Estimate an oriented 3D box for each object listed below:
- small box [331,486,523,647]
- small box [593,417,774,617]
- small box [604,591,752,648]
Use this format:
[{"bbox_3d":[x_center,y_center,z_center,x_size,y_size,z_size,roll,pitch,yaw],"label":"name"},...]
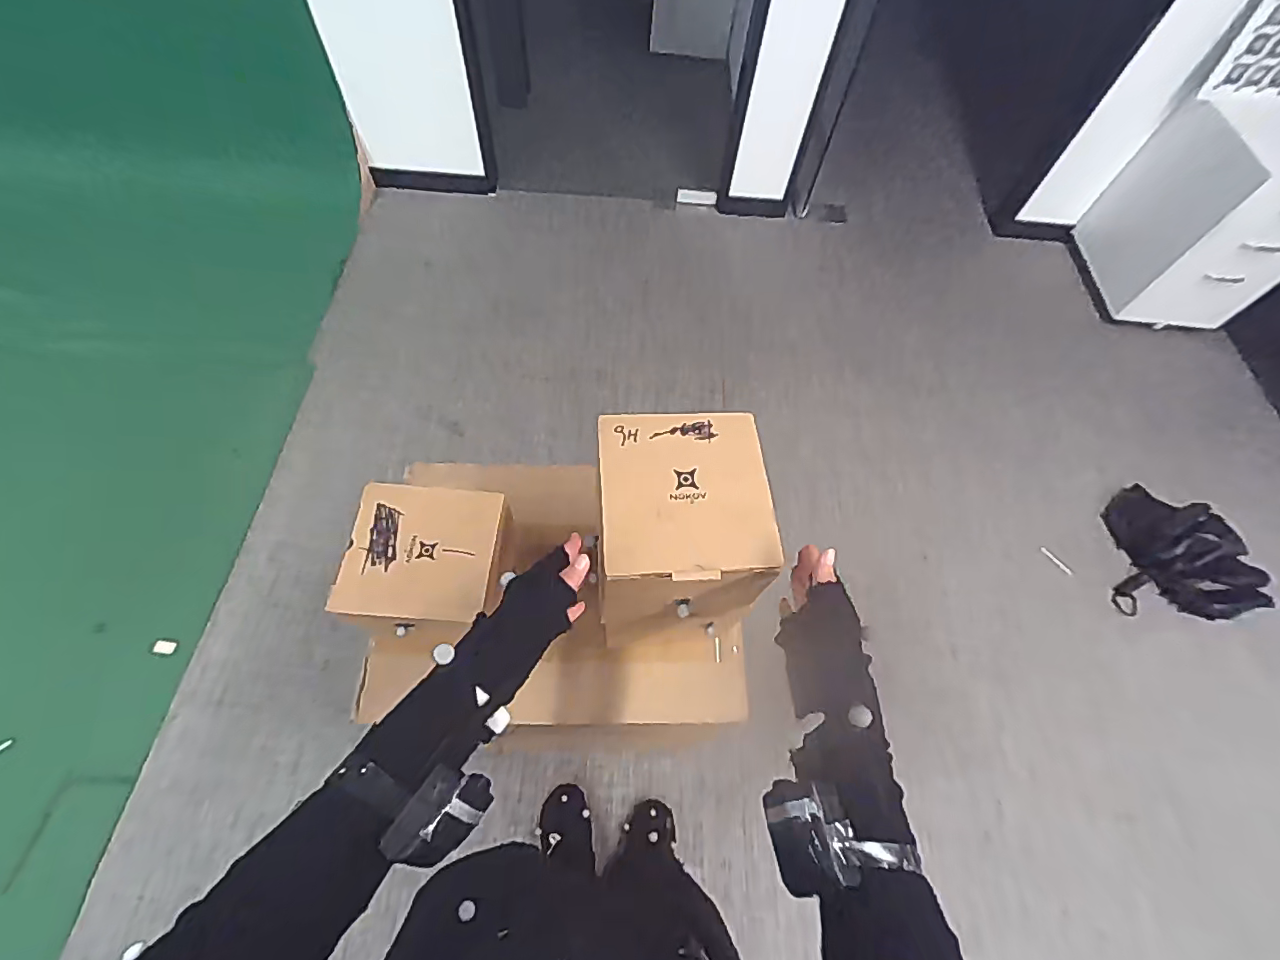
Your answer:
[{"bbox_3d":[-0.265,0.122,0.722,0.179,0.176,0.168,5,63,-2],"label":"small box"},{"bbox_3d":[0.034,0.049,0.598,0.168,0.176,0.179,-2,63,-6],"label":"small box"},{"bbox_3d":[0.035,0.124,0.743,0.179,0.176,0.168,-6,62,-6],"label":"small box"}]
